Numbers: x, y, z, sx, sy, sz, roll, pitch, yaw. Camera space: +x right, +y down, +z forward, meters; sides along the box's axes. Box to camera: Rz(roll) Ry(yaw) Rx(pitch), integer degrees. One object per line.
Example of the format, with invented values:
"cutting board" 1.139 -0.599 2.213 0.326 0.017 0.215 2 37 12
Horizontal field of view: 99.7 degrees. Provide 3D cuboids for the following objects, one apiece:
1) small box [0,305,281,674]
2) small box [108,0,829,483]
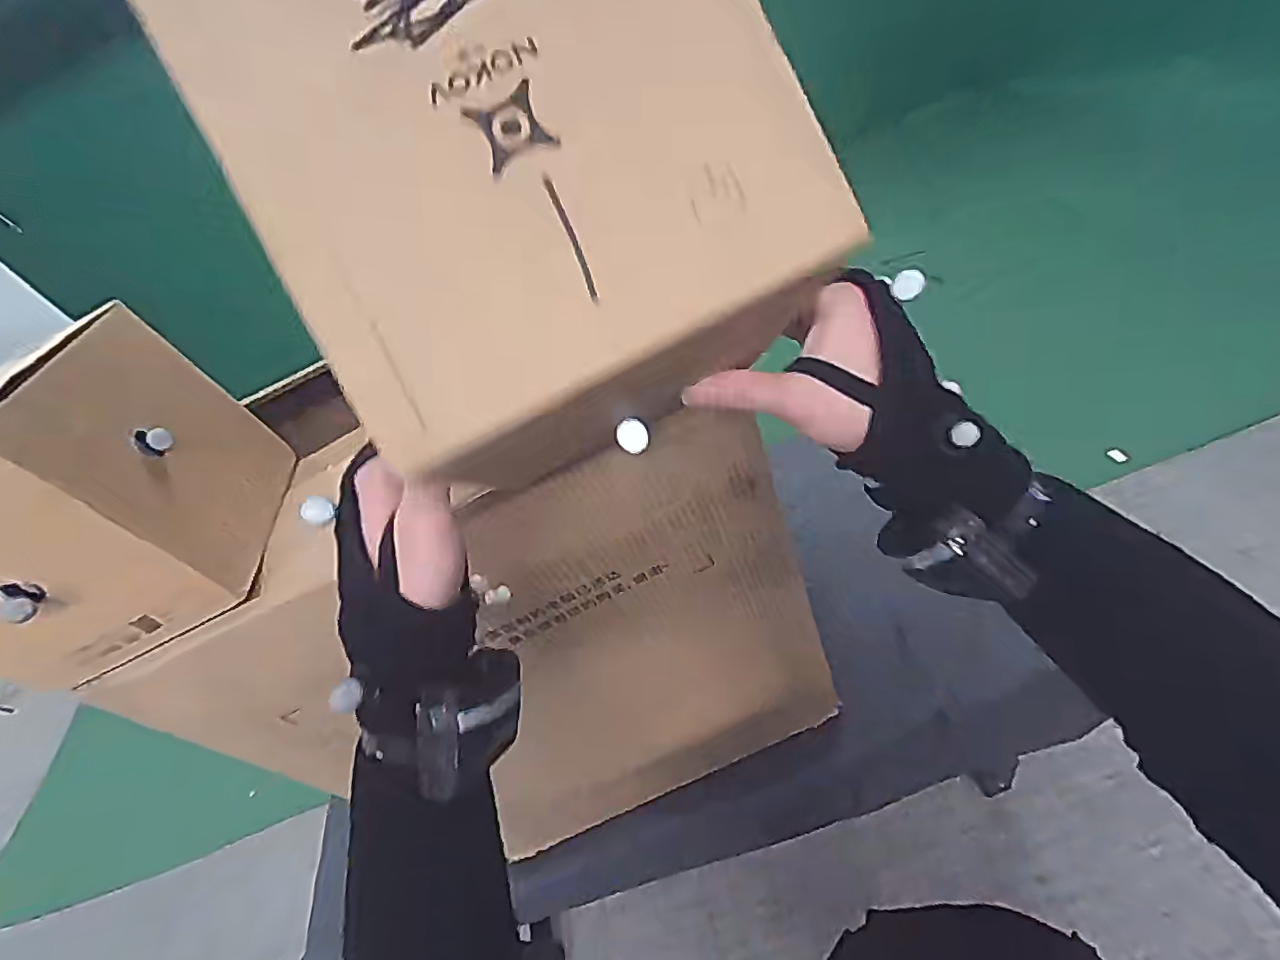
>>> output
"small box" -0.401 0.015 0.388 0.168 0.176 0.179 -27 43 3
"small box" -0.053 -0.108 0.243 0.168 0.179 0.176 -27 -1 -1
